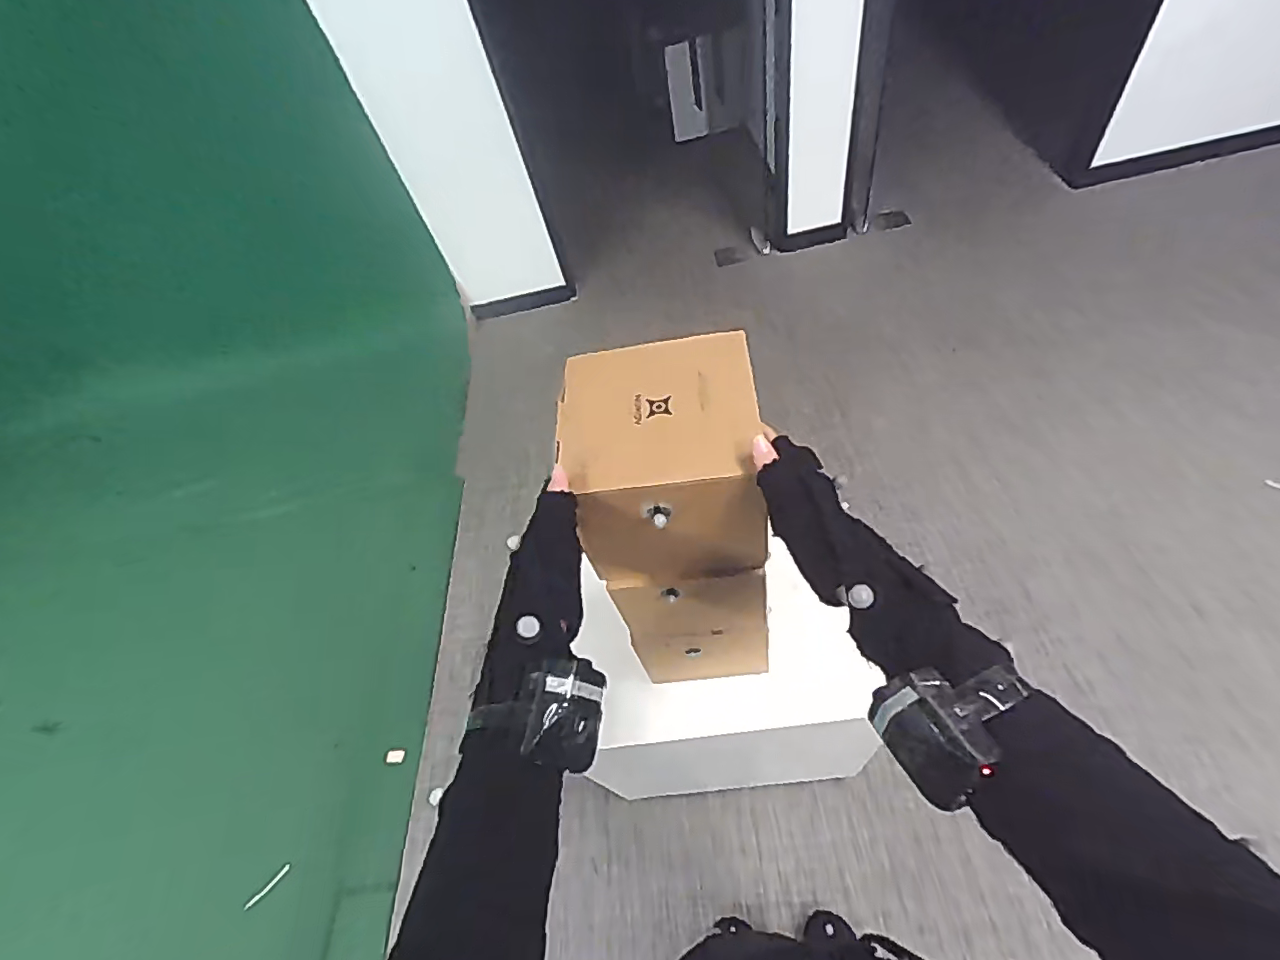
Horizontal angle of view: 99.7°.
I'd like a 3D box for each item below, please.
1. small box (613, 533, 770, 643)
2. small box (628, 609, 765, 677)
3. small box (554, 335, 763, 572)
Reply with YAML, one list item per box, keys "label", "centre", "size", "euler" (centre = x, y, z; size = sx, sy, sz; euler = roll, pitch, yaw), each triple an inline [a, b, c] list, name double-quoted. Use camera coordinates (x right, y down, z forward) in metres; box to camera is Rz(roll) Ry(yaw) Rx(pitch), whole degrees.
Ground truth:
- label: "small box"
  centre: [0.060, 0.083, 0.672]
  size: [0.168, 0.176, 0.179]
  euler: [-8, 53, 6]
- label: "small box"
  centre: [0.084, 0.181, 0.798]
  size: [0.179, 0.176, 0.168]
  euler: [-8, 53, 7]
- label: "small box"
  centre: [0.027, -0.018, 0.546]
  size: [0.179, 0.176, 0.168]
  euler: [-6, 55, 7]
